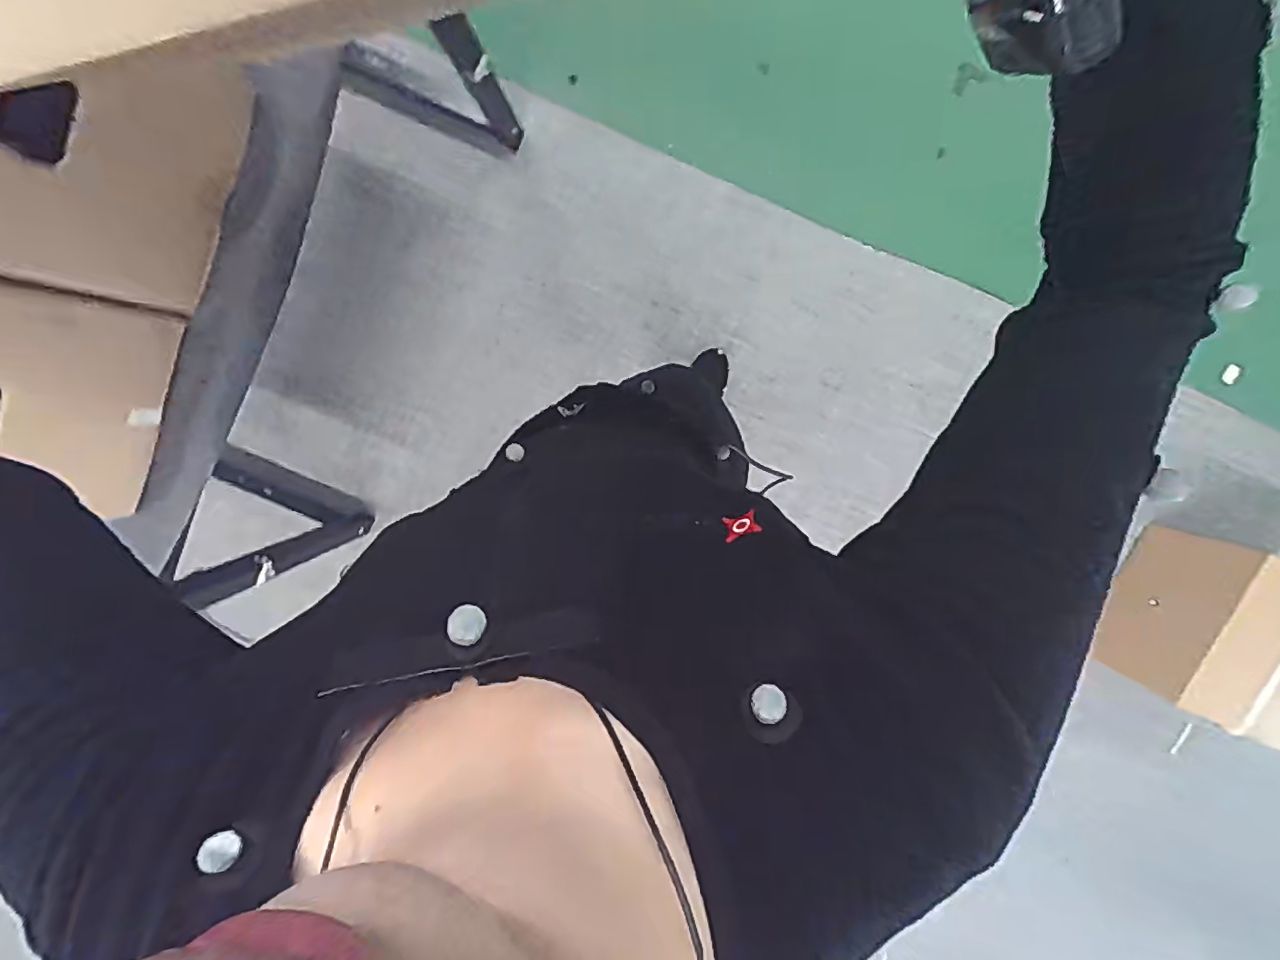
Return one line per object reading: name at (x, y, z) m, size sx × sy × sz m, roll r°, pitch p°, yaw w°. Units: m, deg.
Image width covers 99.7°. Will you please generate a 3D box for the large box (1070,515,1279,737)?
large box at (1.437, 0.350, 1.385) m, size 0.320 × 0.320 × 0.408 m, roll 23°, pitch 97°, yaw -3°
